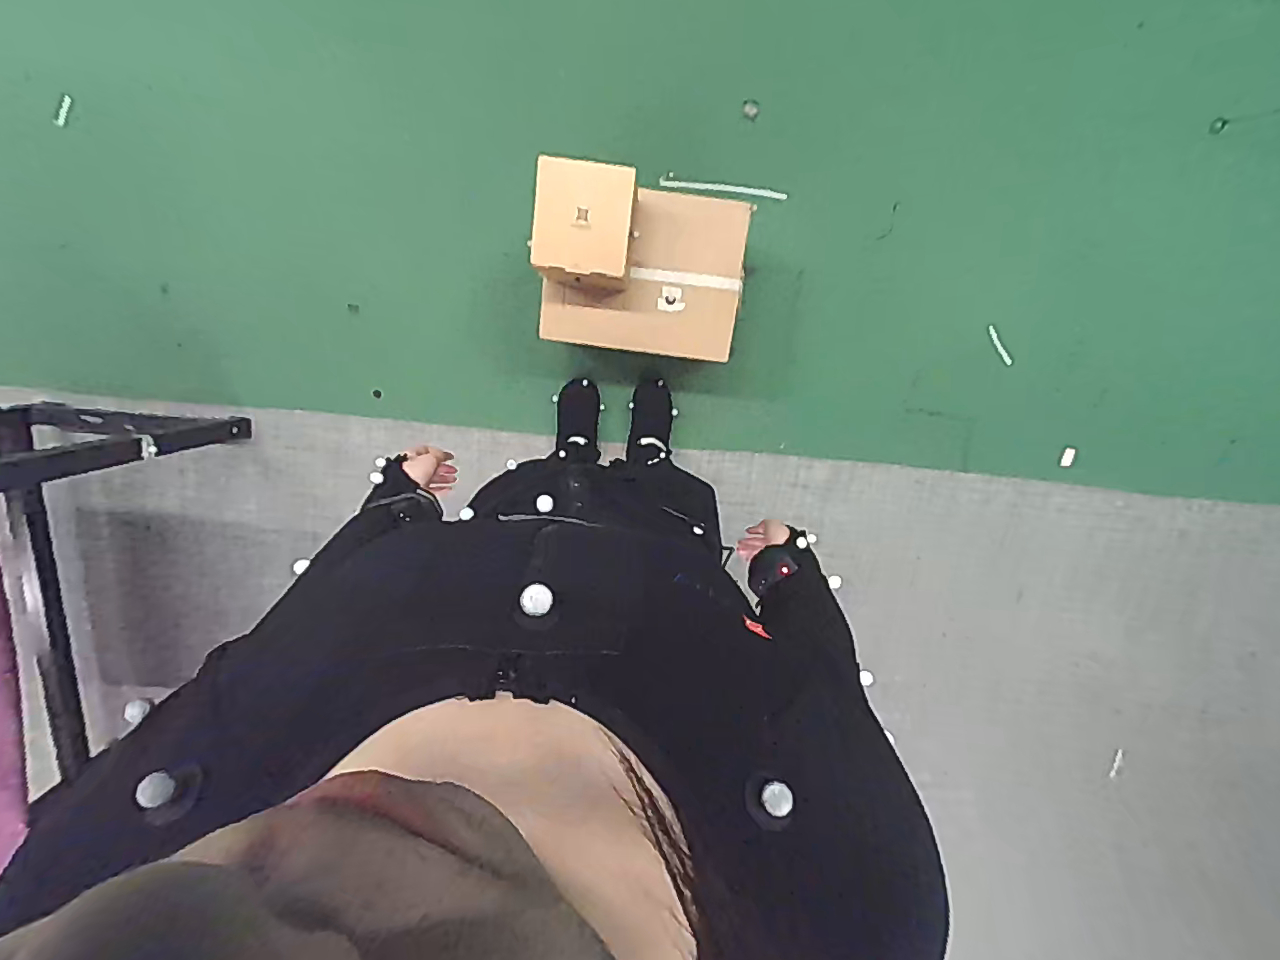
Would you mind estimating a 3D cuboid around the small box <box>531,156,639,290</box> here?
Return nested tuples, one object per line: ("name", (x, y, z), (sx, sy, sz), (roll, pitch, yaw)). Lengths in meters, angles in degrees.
("small box", (-0.095, -0.456, 0.983), (0.168, 0.176, 0.179), (7, 103, -1))

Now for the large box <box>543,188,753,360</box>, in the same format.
("large box", (0.009, -0.451, 1.233), (0.408, 0.320, 0.320), (7, 104, -1))
